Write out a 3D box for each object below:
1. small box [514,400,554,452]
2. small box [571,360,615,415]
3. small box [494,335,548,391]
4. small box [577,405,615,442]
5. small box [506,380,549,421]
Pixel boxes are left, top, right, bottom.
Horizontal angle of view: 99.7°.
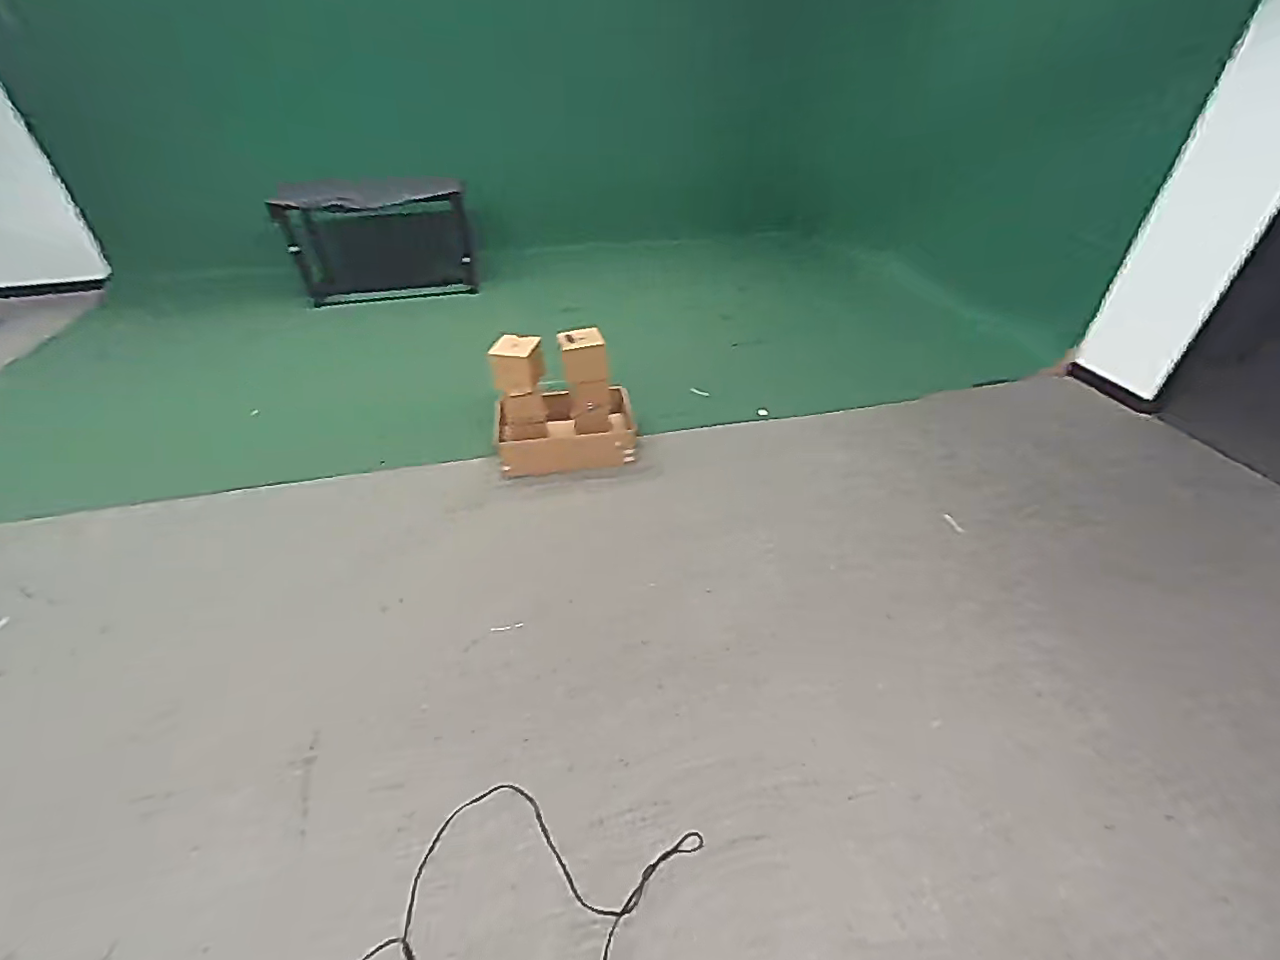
[{"bbox_3d":[-0.493,-0.251,2.500,0.168,0.176,0.179,-8,40,-9],"label":"small box"},{"bbox_3d":[-0.213,-0.420,2.451,0.168,0.176,0.179,-12,43,-10],"label":"small box"},{"bbox_3d":[-0.493,-0.492,2.280,0.168,0.176,0.179,8,39,8],"label":"small box"},{"bbox_3d":[-0.210,-0.296,2.557,0.168,0.176,0.179,-5,40,-4],"label":"small box"},{"bbox_3d":[-0.497,-0.371,2.388,0.168,0.176,0.179,-6,39,-9],"label":"small box"}]
